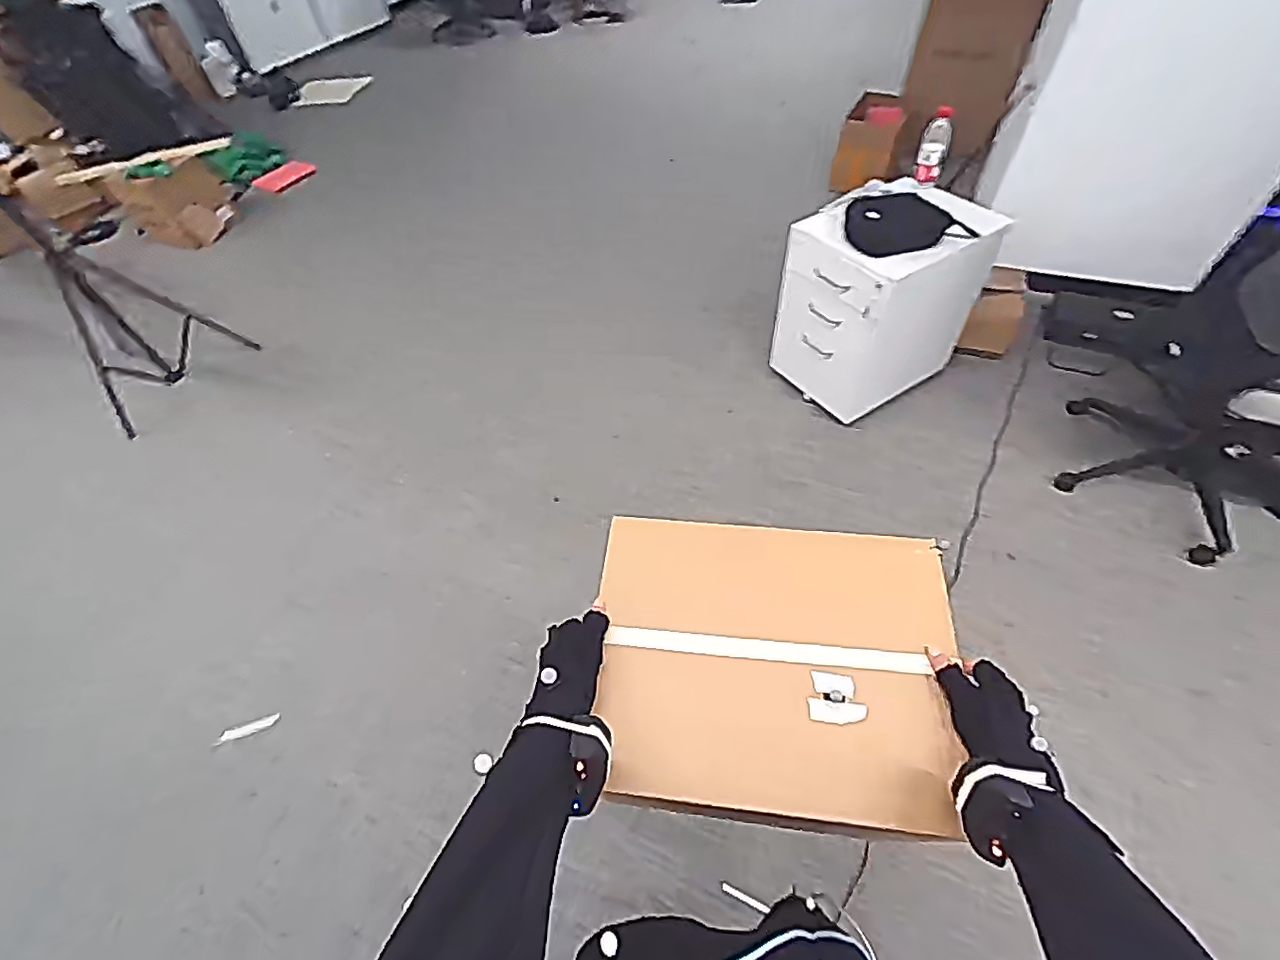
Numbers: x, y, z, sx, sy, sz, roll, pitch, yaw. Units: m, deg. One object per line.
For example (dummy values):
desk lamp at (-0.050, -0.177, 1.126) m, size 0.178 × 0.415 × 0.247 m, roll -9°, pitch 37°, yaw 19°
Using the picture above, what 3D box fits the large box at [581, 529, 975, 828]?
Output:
large box at (0.153, 0.282, 0.750) m, size 0.408 × 0.320 × 0.320 m, roll 3°, pitch 58°, yaw 6°
